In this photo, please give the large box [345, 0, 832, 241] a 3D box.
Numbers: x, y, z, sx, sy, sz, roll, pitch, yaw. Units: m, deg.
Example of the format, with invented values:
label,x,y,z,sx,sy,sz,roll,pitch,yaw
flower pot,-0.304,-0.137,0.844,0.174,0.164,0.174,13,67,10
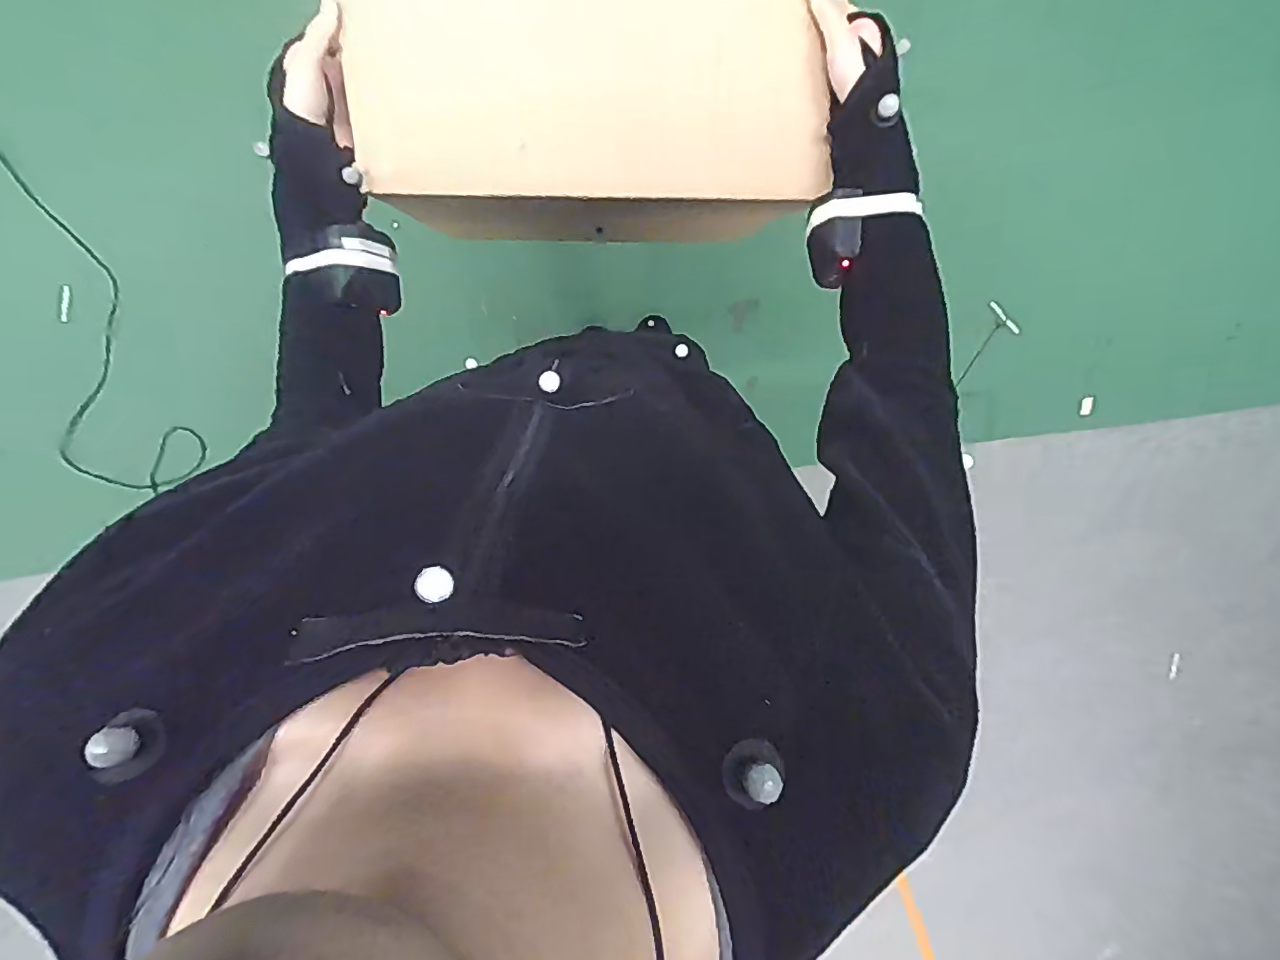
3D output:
label,x,y,z,sx,sy,sz,roll,pitch,yaw
large box,-0.047,-0.437,0.578,0.408,0.320,0.320,-1,107,-5
